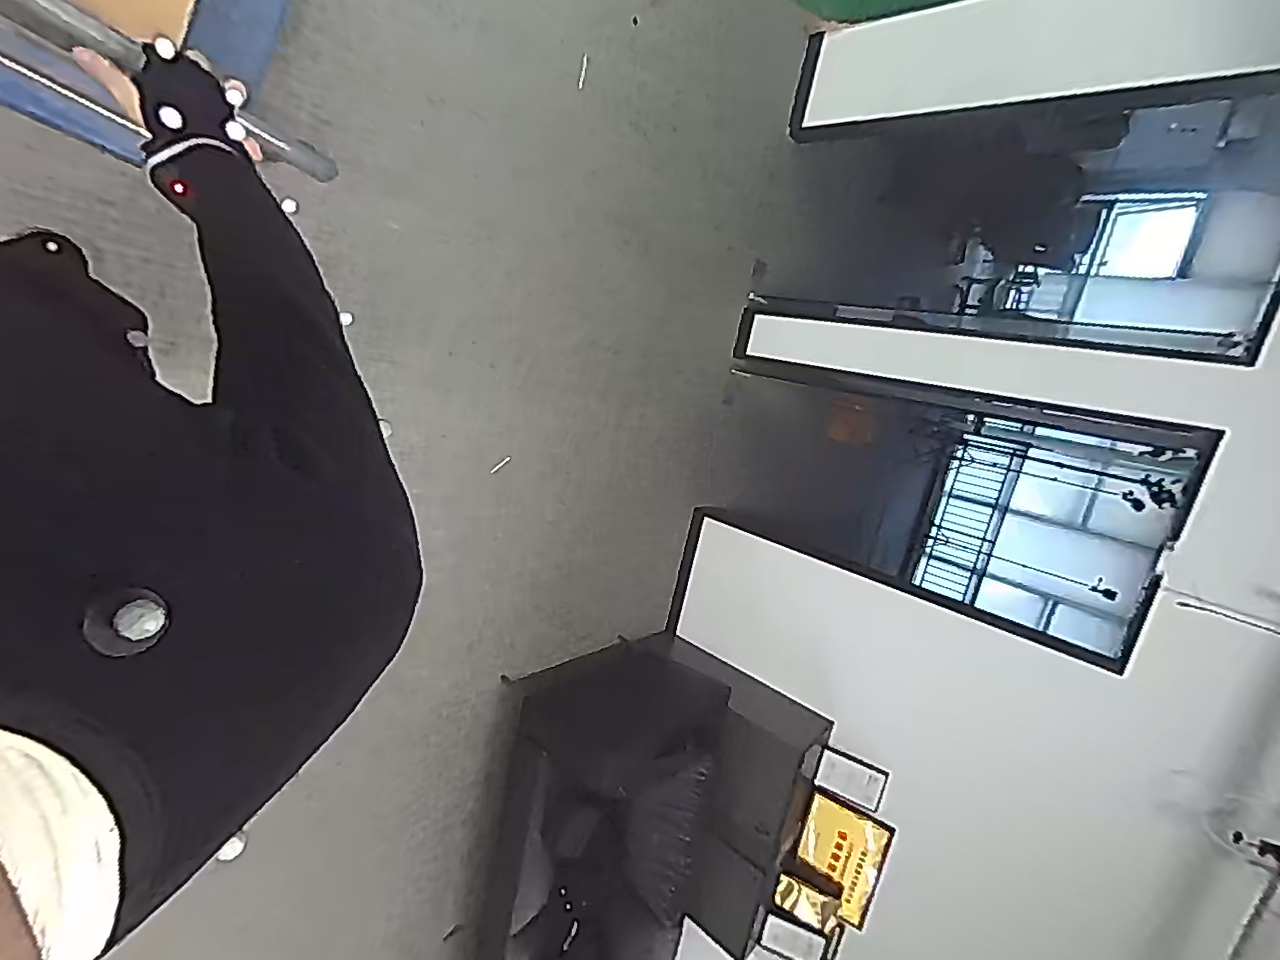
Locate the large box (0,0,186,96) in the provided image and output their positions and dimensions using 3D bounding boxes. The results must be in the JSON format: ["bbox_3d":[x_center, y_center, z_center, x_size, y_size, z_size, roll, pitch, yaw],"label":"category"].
[{"bbox_3d":[-0.854,-0.873,0.774,0.320,0.320,0.408,16,92,-53],"label":"large box"}]
